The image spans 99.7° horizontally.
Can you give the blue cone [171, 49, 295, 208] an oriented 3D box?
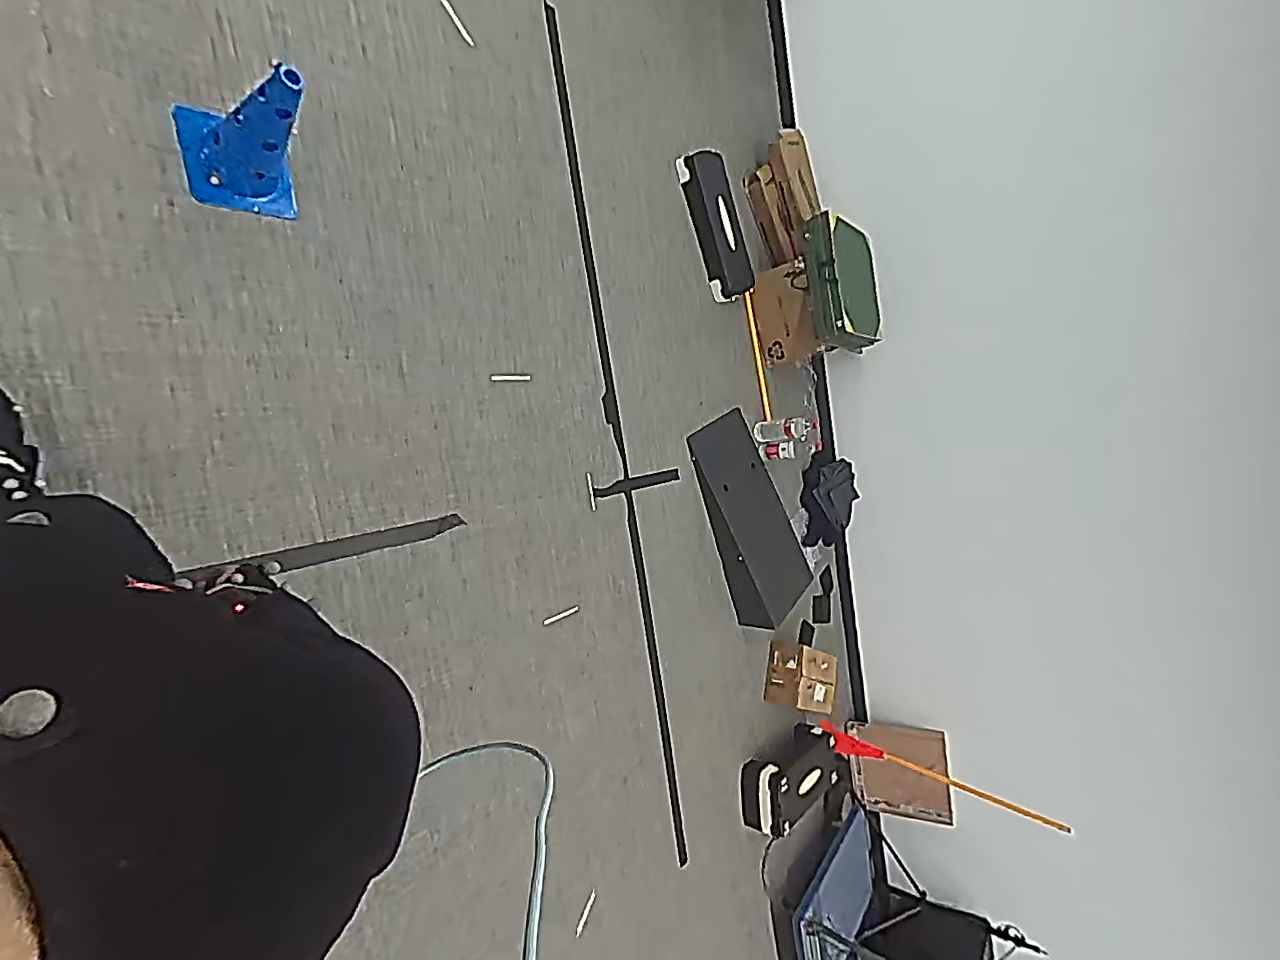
[{"bbox_3d":[-0.759,-0.710,1.066,0.193,0.380,0.192,-12,95,-49],"label":"blue cone"}]
